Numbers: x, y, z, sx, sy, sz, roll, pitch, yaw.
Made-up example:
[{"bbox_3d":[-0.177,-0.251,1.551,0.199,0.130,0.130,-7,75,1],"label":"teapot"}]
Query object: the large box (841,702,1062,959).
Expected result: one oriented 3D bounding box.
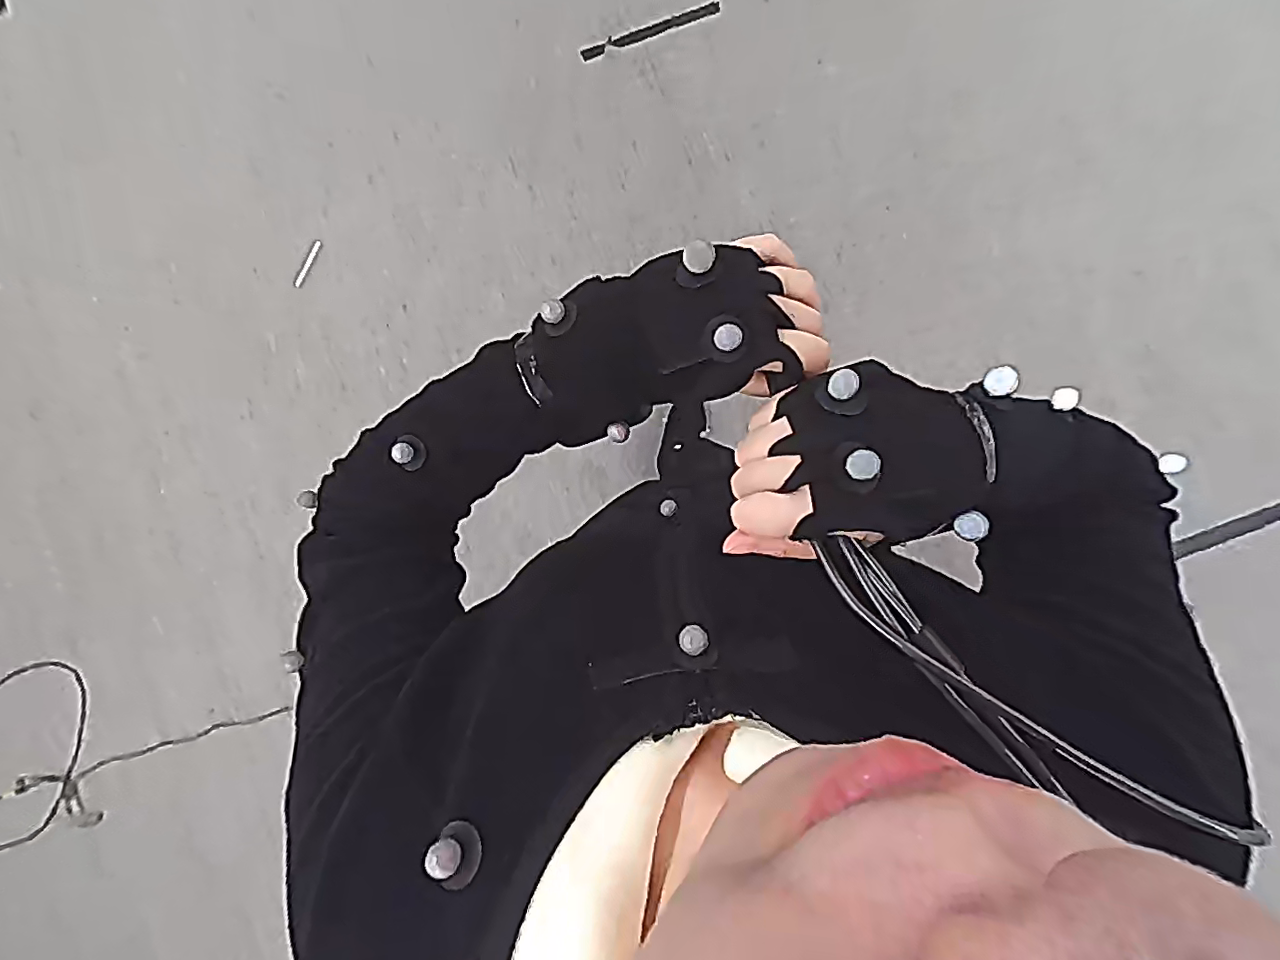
[{"bbox_3d":[0.645,0.743,1.172,0.320,0.320,0.408,0,91,1],"label":"large box"}]
